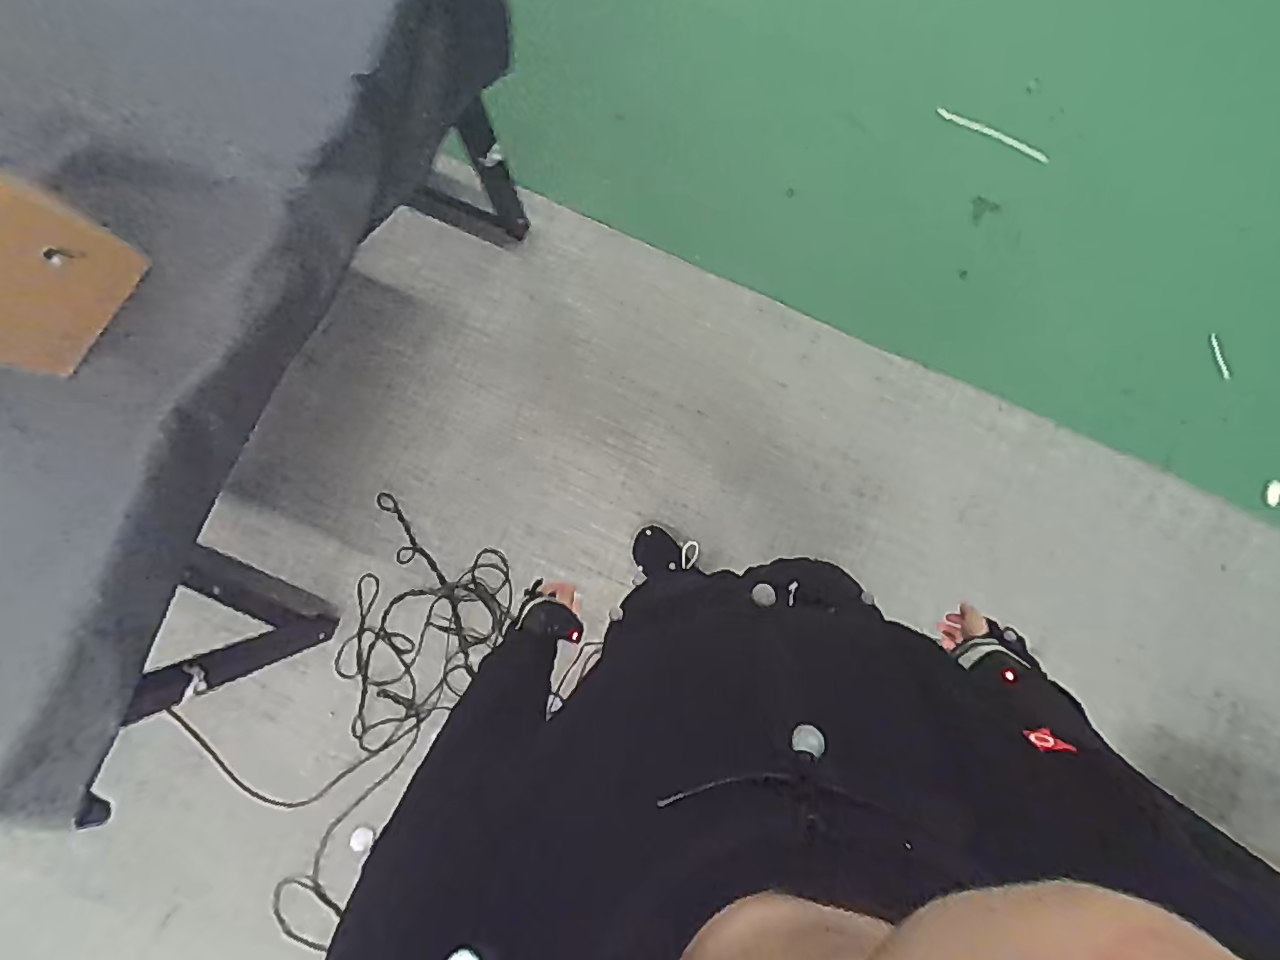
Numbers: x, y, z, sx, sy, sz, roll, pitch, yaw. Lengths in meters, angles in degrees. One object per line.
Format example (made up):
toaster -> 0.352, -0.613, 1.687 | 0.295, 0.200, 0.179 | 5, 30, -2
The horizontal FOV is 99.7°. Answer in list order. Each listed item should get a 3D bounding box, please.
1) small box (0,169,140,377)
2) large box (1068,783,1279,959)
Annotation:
small box -> -0.700, -0.238, 0.572 | 0.168, 0.176, 0.179 | 32, 88, 3
large box -> 1.246, 0.968, 1.170 | 0.320, 0.320, 0.408 | 23, 88, 2
